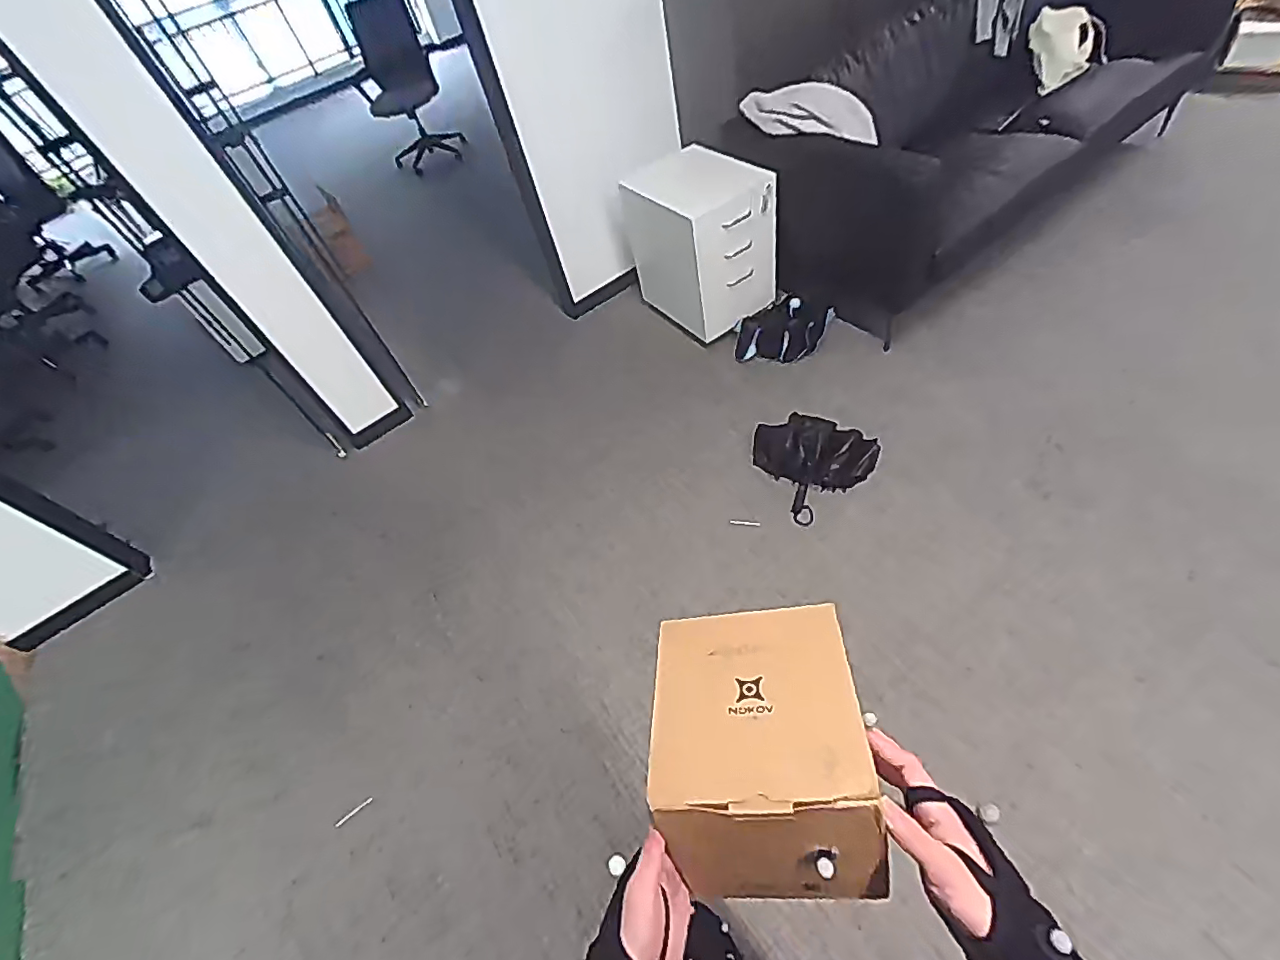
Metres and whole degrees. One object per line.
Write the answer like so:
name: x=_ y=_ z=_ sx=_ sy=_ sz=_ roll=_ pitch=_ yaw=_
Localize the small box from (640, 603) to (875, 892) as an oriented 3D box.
small box: x=0.106 y=0.239 z=0.487 sx=0.168 sy=0.176 sz=0.179 roll=-9 pitch=33 yaw=12
